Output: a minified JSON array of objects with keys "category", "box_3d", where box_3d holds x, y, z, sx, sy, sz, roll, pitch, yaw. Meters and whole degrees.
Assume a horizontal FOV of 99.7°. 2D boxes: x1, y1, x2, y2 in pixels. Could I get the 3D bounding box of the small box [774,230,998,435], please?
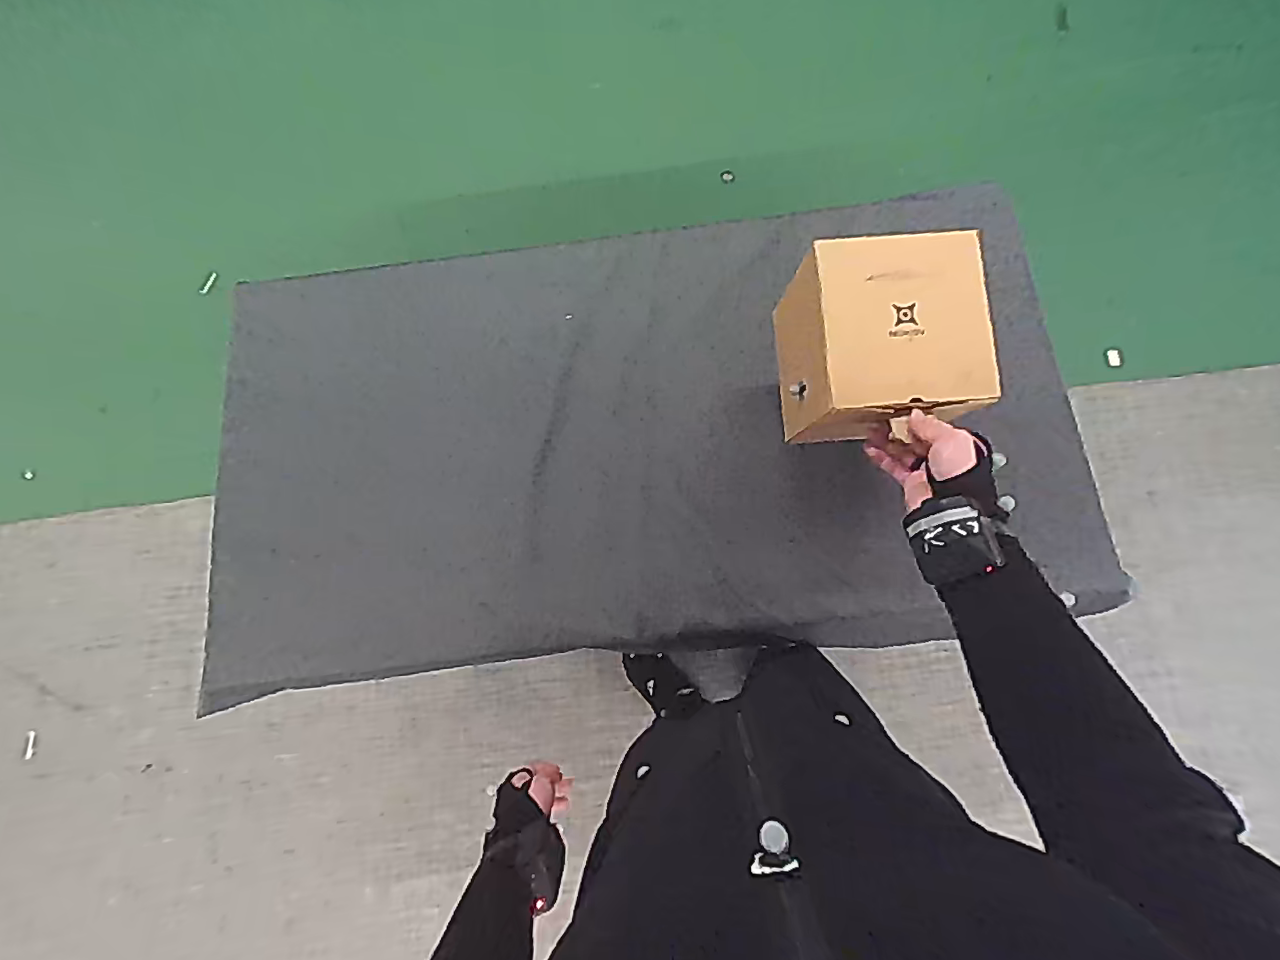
[{"category":"small box","box_3d":[0.257,-0.150,0.608,0.168,0.176,0.179,-4,82,-2]}]
